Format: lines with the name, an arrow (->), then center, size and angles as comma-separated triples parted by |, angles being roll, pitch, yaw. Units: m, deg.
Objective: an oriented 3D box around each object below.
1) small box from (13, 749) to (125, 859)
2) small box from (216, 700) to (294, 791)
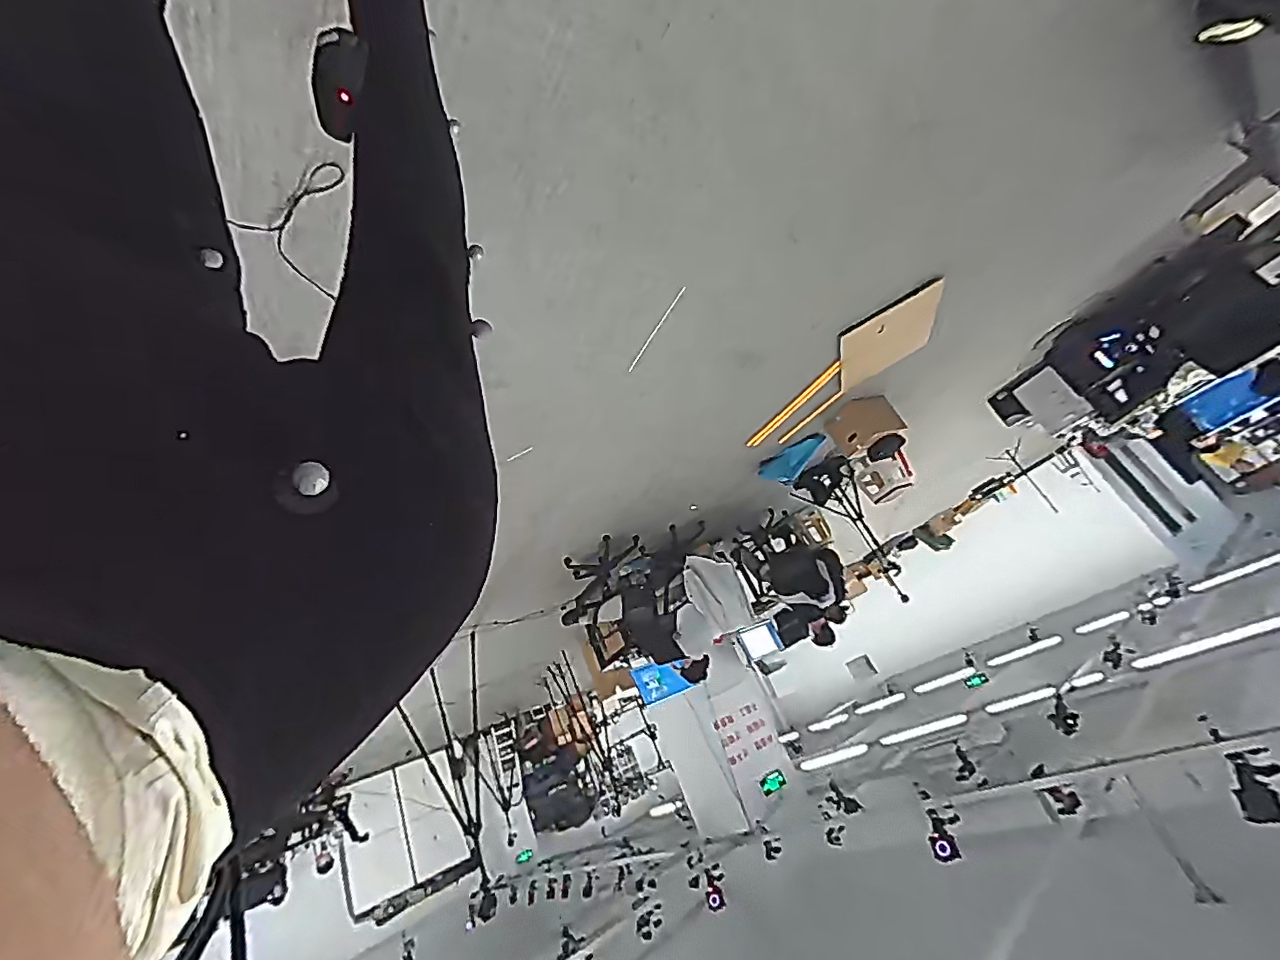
small box -> -1.368, 0.773, 1.303 | 0.168, 0.176, 0.179 | -5, 149, -39
small box -> -1.092, 0.748, 1.532 | 0.168, 0.176, 0.179 | -5, 148, -38
